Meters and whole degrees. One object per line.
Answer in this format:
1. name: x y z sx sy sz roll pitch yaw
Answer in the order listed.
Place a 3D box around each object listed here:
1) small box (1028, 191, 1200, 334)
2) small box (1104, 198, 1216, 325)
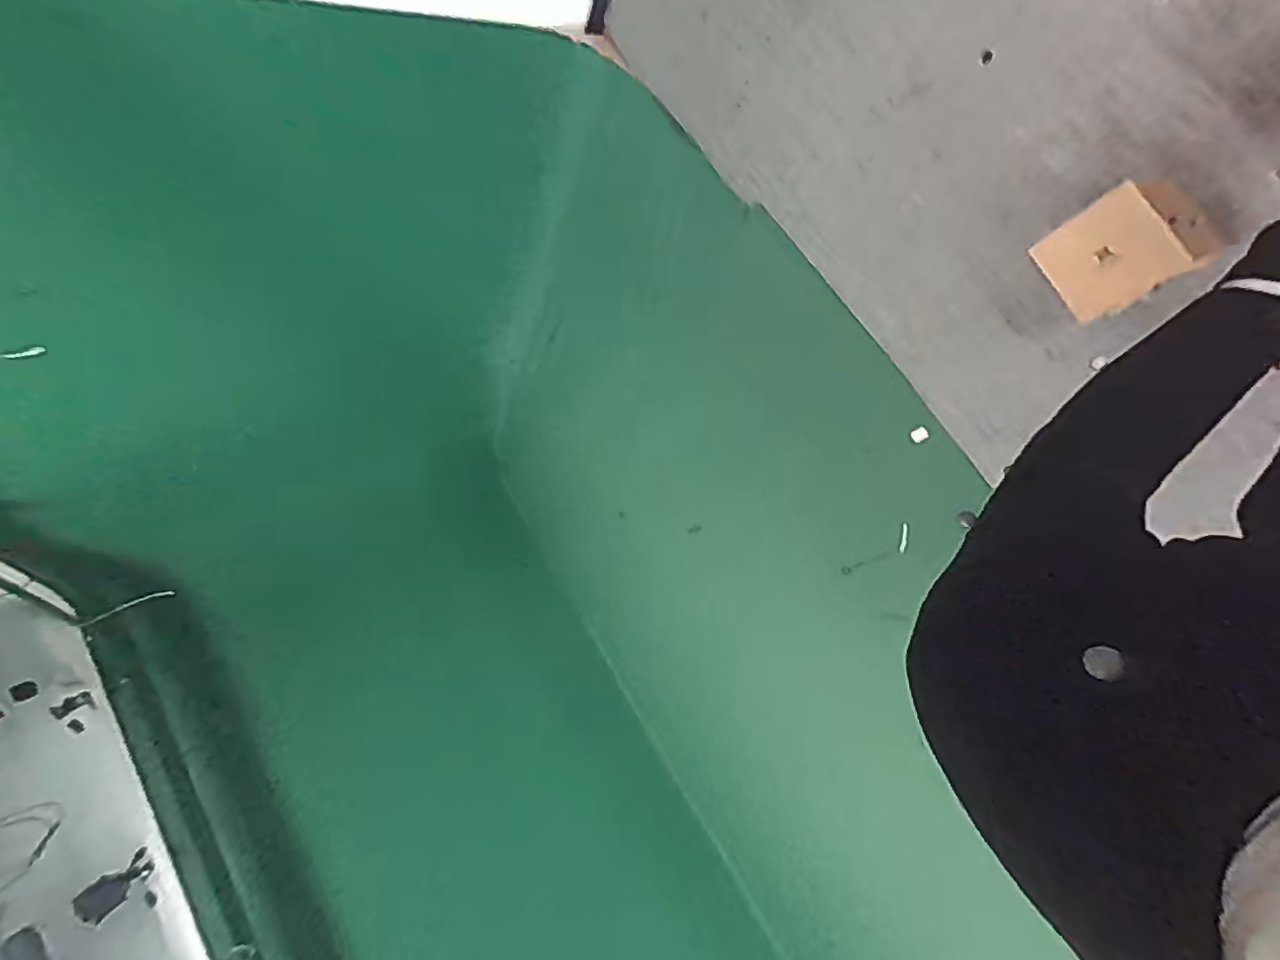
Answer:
1. small box: 0.867 -0.398 0.992 0.179 0.176 0.168 60 144 7
2. small box: 1.007 -0.446 1.095 0.179 0.176 0.168 61 144 8
